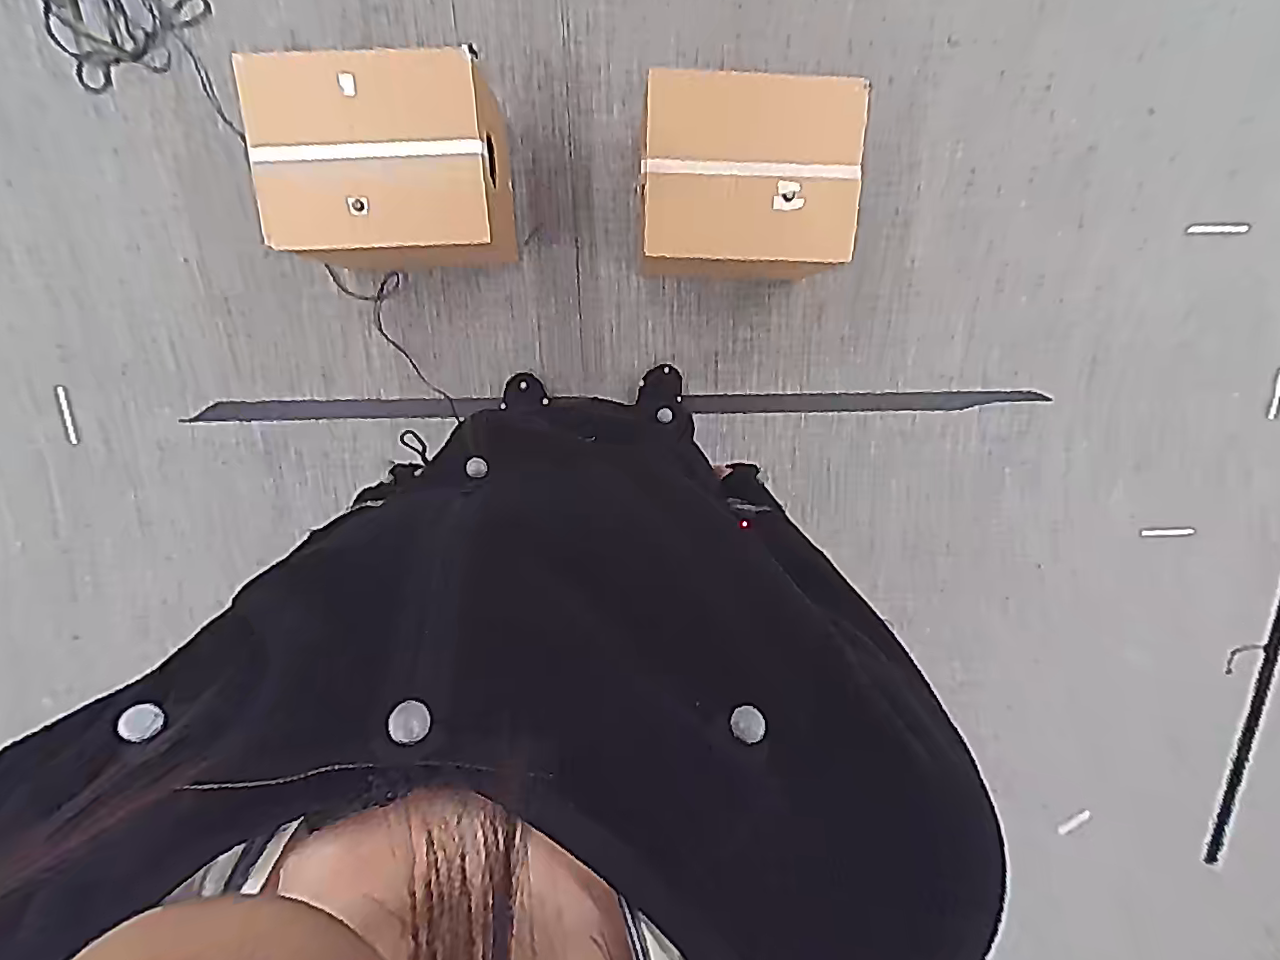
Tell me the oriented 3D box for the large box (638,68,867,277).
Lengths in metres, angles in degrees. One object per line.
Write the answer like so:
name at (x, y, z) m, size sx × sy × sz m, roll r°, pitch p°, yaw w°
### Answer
large box at (0.204, -0.615, 1.149) m, size 0.408 × 0.320 × 0.320 m, roll 1°, pitch 104°, yaw -4°
